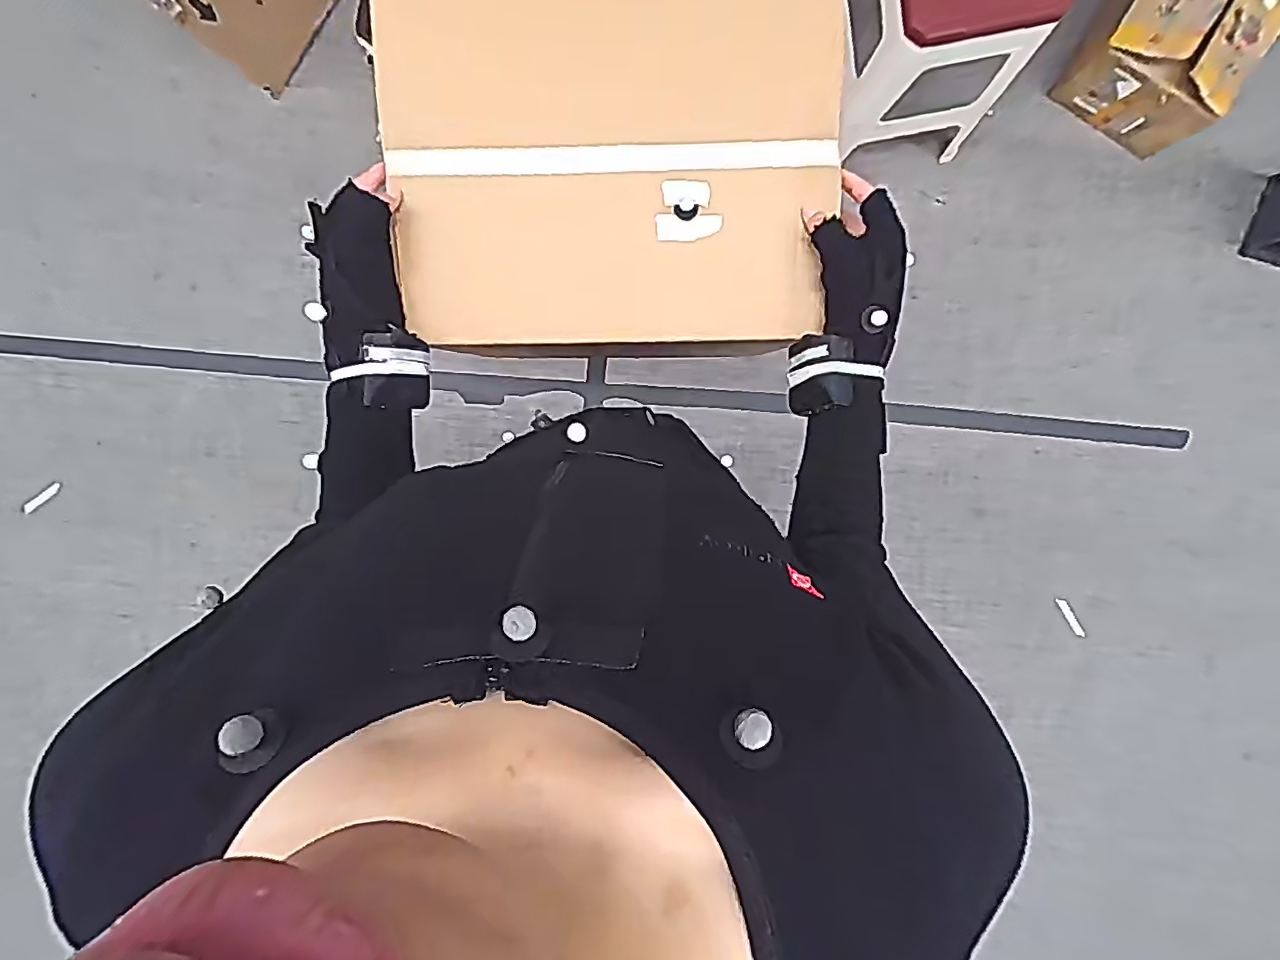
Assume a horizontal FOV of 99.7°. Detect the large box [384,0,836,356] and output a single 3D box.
[{"bbox_3d":[-0.026,-0.319,0.641,0.408,0.320,0.320,-1,100,0],"label":"large box"}]
